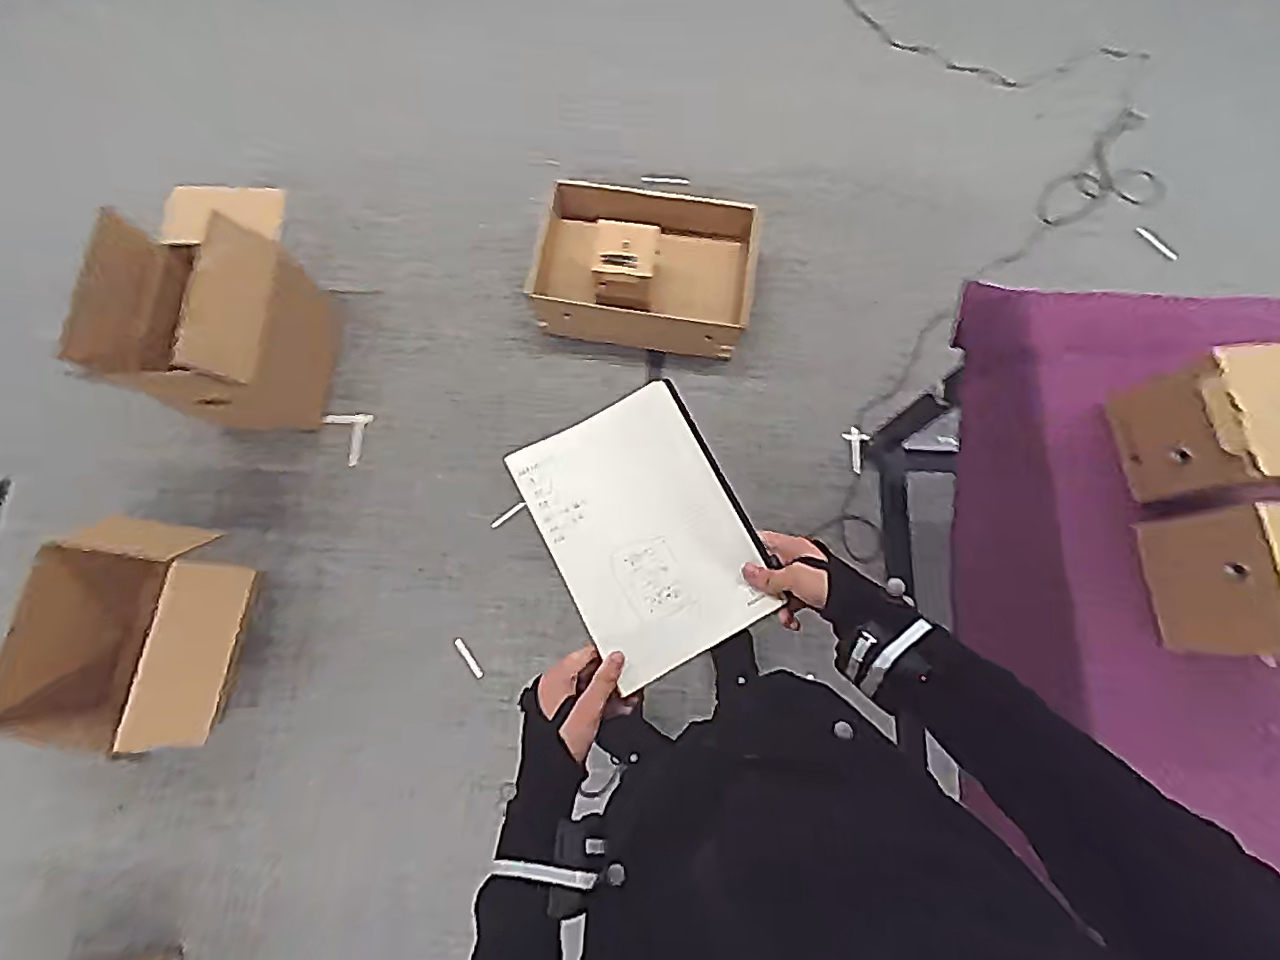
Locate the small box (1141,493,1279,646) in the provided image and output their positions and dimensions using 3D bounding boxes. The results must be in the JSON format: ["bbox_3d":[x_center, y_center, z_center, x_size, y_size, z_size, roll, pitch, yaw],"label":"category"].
[{"bbox_3d":[0.799,0.117,0.687,0.168,0.176,0.179,-2,77,0],"label":"small box"}]

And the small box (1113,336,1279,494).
[{"bbox_3d":[0.802,-0.082,0.738,0.179,0.176,0.168,-5,77,-2],"label":"small box"}]
